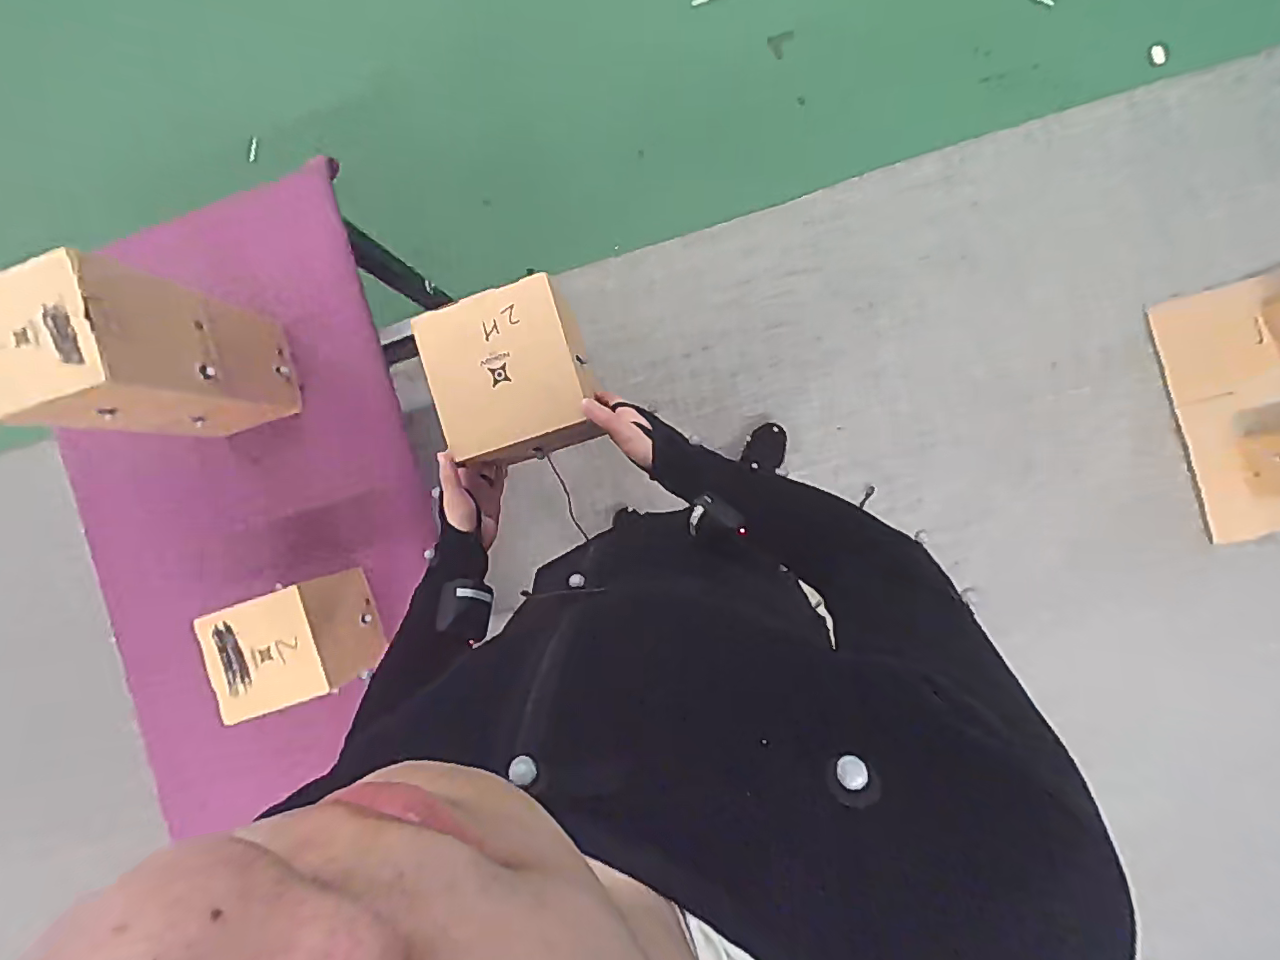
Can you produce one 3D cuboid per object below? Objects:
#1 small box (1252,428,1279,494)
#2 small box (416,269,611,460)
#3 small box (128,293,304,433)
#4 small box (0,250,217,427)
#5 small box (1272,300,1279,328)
[{"bbox_3d":[1.724,-0.057,1.368,0.179,0.176,0.168,-12,89,5],"label":"small box"},{"bbox_3d":[-0.143,-0.128,0.674,0.168,0.176,0.179,-16,88,5],"label":"small box"},{"bbox_3d":[-0.698,-0.177,0.881,0.179,0.176,0.168,-15,91,6],"label":"small box"},{"bbox_3d":[-0.711,-0.173,0.718,0.179,0.176,0.168,-16,90,8],"label":"small box"},{"bbox_3d":[1.790,-0.430,1.359,0.179,0.176,0.168,-23,89,5],"label":"small box"}]
